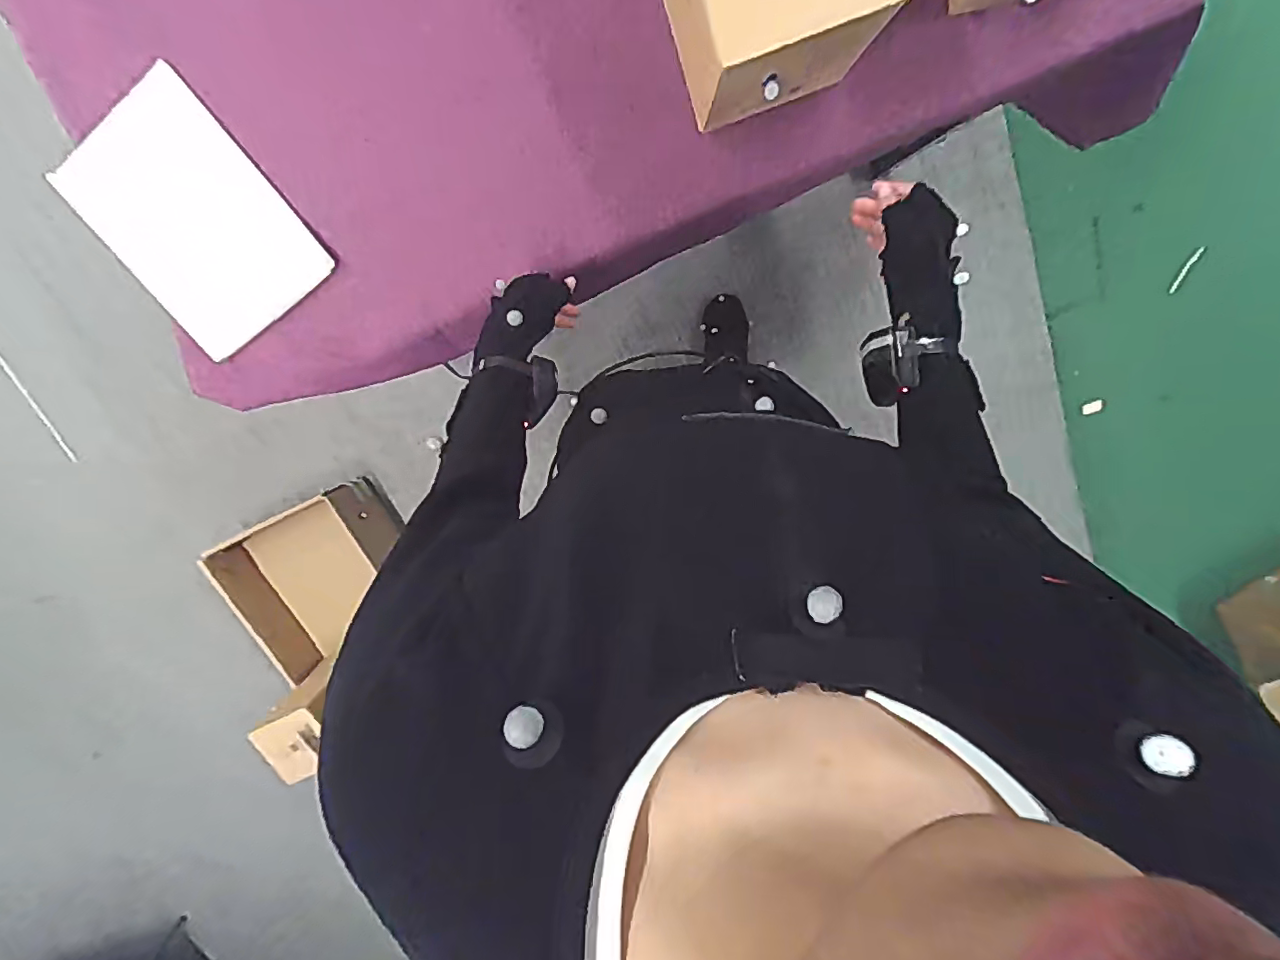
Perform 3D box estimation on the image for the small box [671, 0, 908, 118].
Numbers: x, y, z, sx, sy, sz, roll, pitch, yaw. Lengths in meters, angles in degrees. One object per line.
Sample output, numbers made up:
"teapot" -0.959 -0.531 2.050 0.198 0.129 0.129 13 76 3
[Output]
"small box" 0.122 -0.471 0.504 0.168 0.176 0.179 -17 106 6
